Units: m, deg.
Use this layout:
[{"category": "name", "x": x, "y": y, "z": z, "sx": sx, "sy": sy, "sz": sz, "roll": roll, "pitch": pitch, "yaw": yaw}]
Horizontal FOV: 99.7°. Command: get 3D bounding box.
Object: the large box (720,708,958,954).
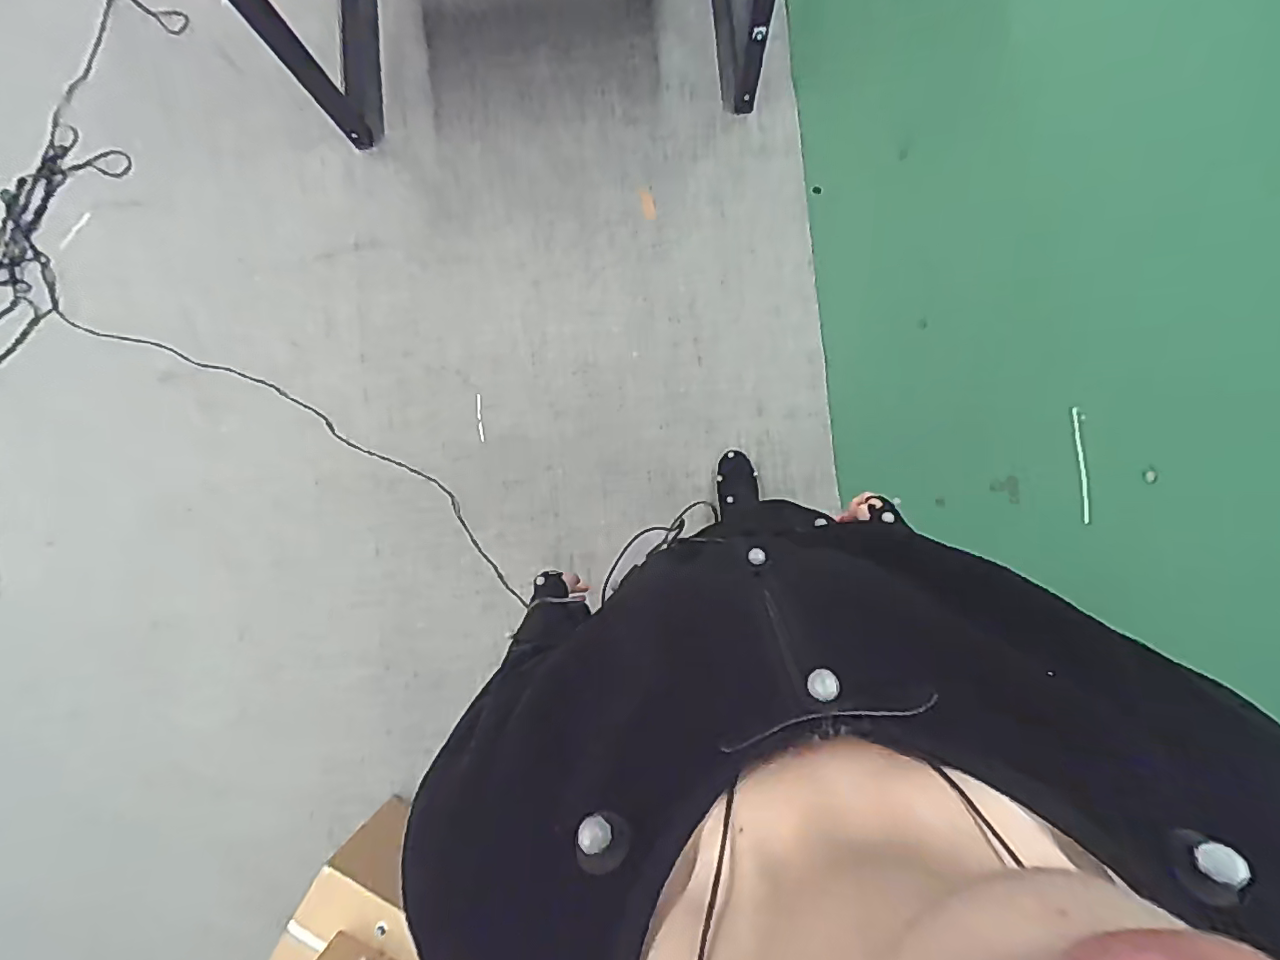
[{"category": "large box", "x": 0.446, "y": 0.810, "z": 1.307, "sx": 0.408, "sy": 0.320, "sz": 0.320, "roll": -19, "pitch": 87, "yaw": 0}]
